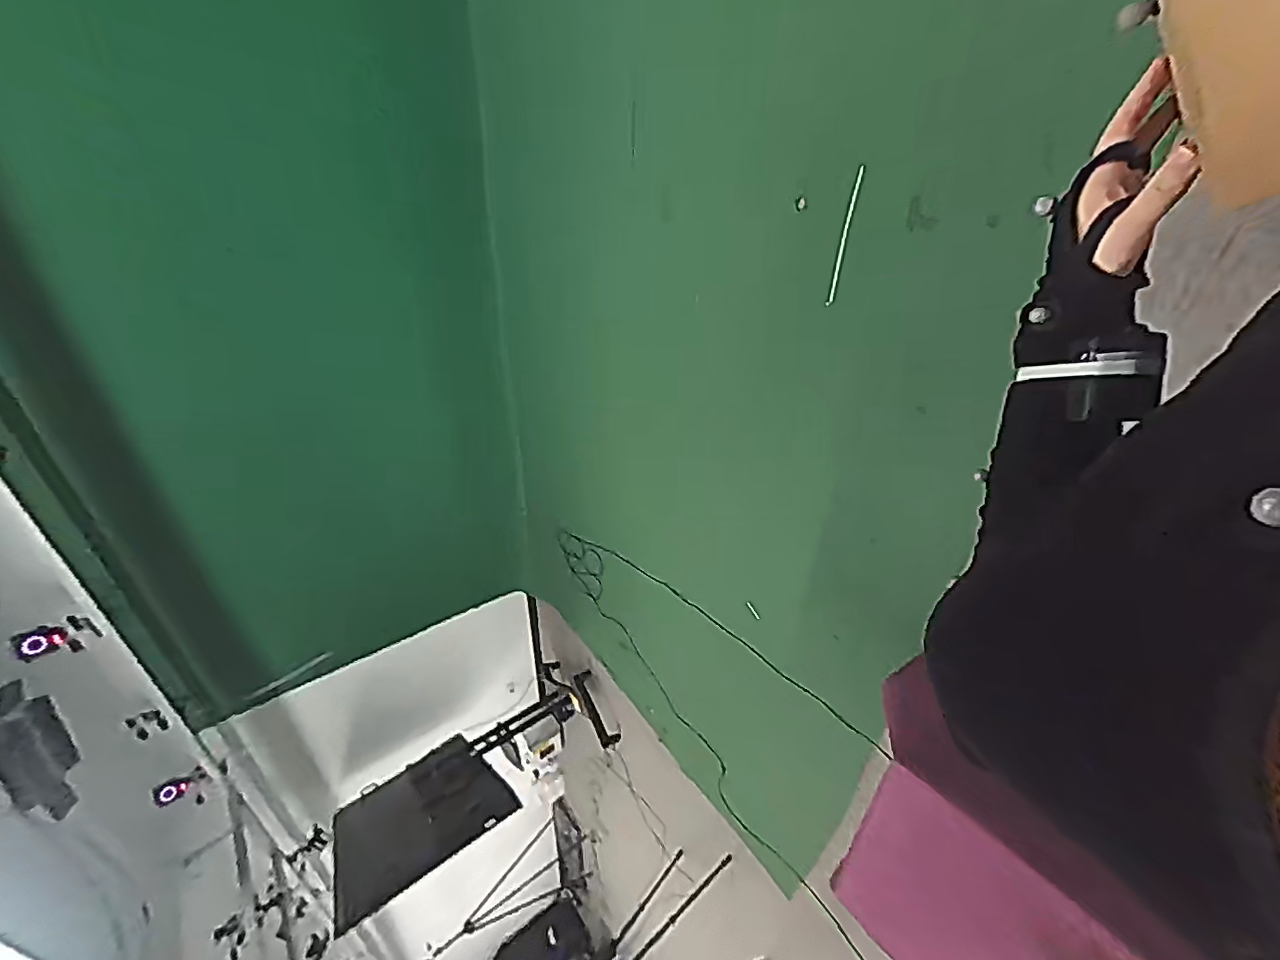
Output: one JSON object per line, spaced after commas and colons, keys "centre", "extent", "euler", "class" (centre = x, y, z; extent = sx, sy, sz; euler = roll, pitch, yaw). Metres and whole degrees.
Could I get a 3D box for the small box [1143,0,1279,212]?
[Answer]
{"centre": [0.345, -0.271, 0.243], "extent": [0.168, 0.176, 0.179], "euler": [-15, 124, 46], "class": "small box"}
